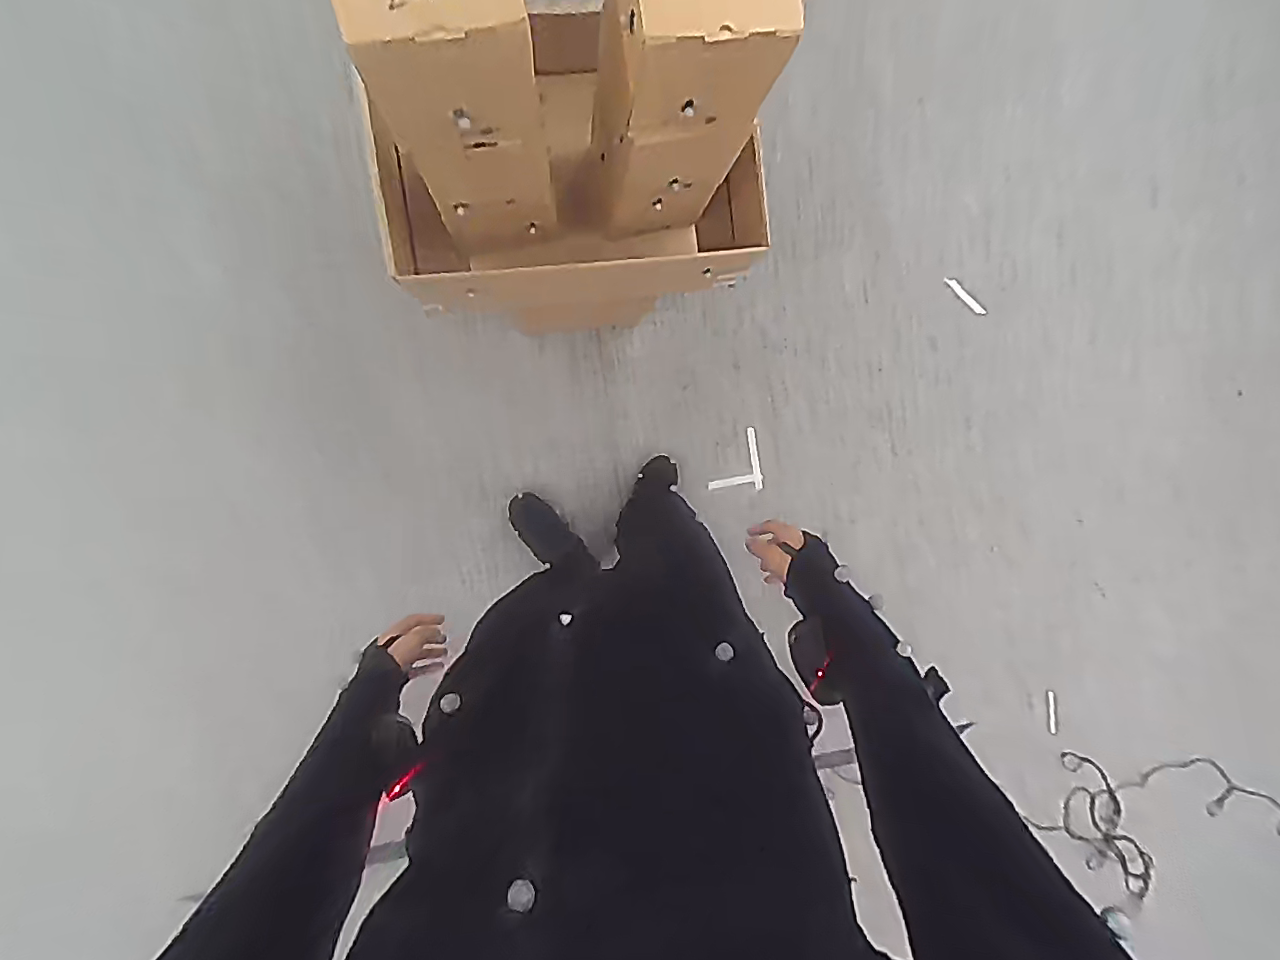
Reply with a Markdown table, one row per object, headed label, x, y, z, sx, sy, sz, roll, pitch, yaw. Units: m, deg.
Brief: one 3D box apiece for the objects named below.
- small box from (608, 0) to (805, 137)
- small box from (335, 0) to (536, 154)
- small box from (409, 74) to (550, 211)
| label | x | y | z | sx | sy | sz | roll | pitch | yaw |
| --- | --- | --- | --- | --- | --- | --- | --- | --- | --- |
| small box | 0.061 | -0.517 | 0.595 | 0.168 | 0.176 | 0.179 | -9 | 96 | -7 |
| small box | -0.209 | -0.480 | 0.559 | 0.168 | 0.176 | 0.179 | -13 | 94 | -7 |
| small box | -0.218 | -0.483 | 0.725 | 0.168 | 0.176 | 0.179 | -12 | 93 | -7 |
